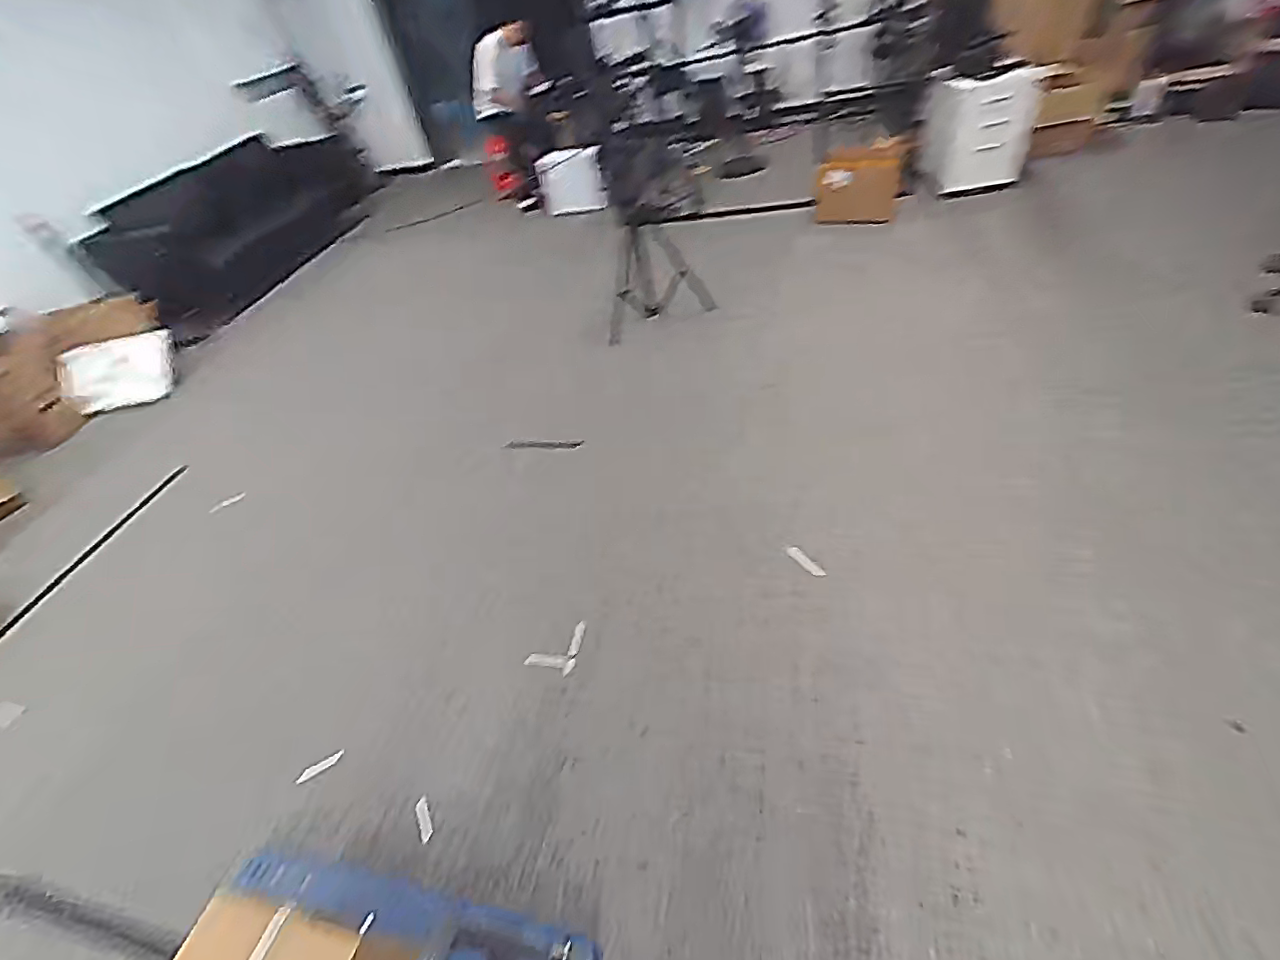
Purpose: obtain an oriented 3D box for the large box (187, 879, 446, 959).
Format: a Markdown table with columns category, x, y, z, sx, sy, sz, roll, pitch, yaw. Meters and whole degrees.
| category | x | y | z | sx | sy | sz | roll | pitch | yaw |
| --- | --- | --- | --- | --- | --- | --- | --- | --- | --- |
| large box | -0.598 | 0.963 | 0.901 | 0.320 | 0.320 | 0.408 | 3 | 48 | 18 |
